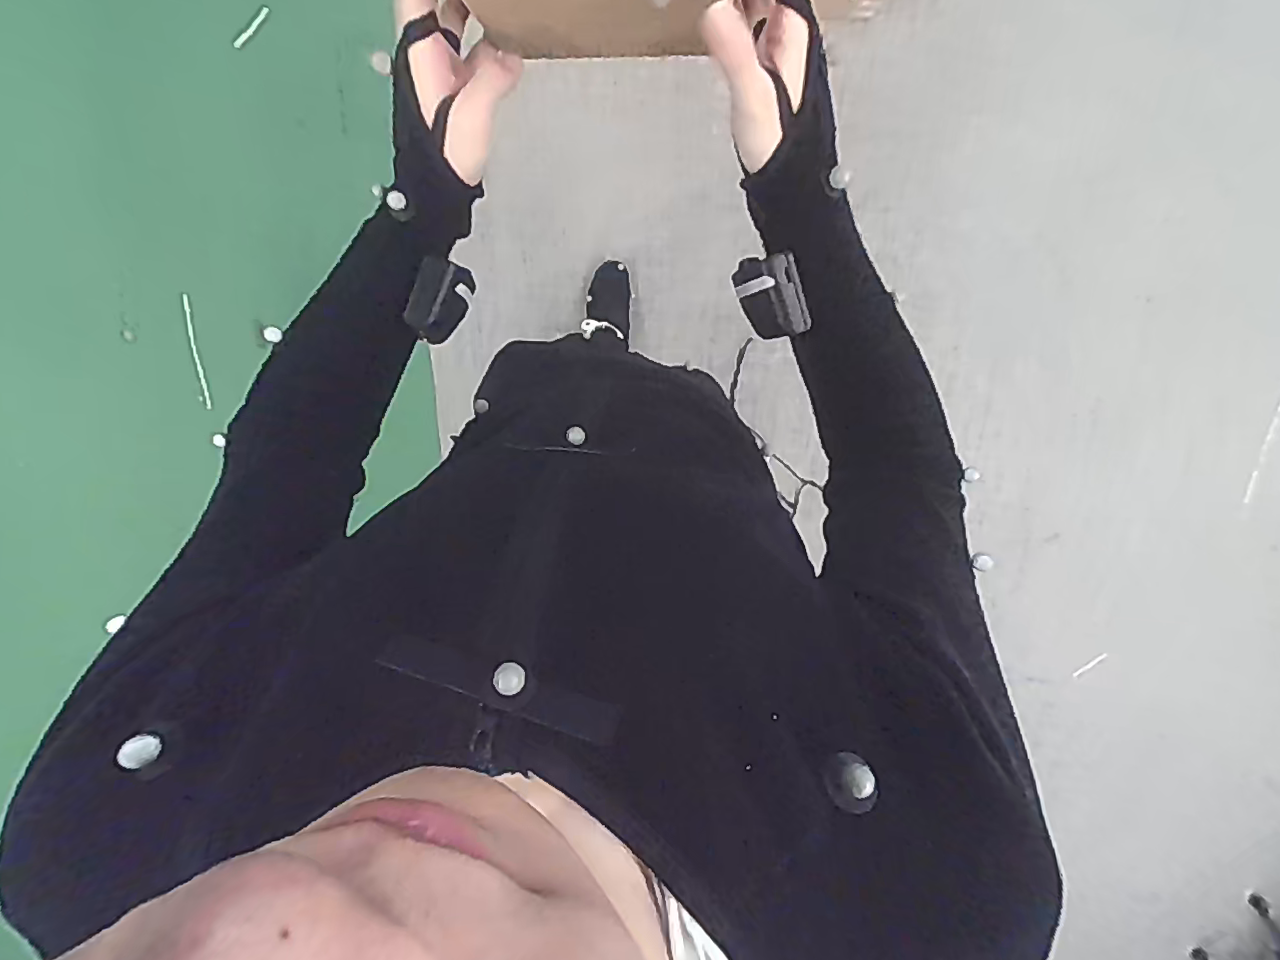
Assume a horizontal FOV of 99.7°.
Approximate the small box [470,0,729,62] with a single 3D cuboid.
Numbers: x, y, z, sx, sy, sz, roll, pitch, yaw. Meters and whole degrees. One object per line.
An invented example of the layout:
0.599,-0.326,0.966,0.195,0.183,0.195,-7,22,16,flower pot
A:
-0.024,-0.383,0.326,0.179,0.176,0.168,3,109,4,small box
